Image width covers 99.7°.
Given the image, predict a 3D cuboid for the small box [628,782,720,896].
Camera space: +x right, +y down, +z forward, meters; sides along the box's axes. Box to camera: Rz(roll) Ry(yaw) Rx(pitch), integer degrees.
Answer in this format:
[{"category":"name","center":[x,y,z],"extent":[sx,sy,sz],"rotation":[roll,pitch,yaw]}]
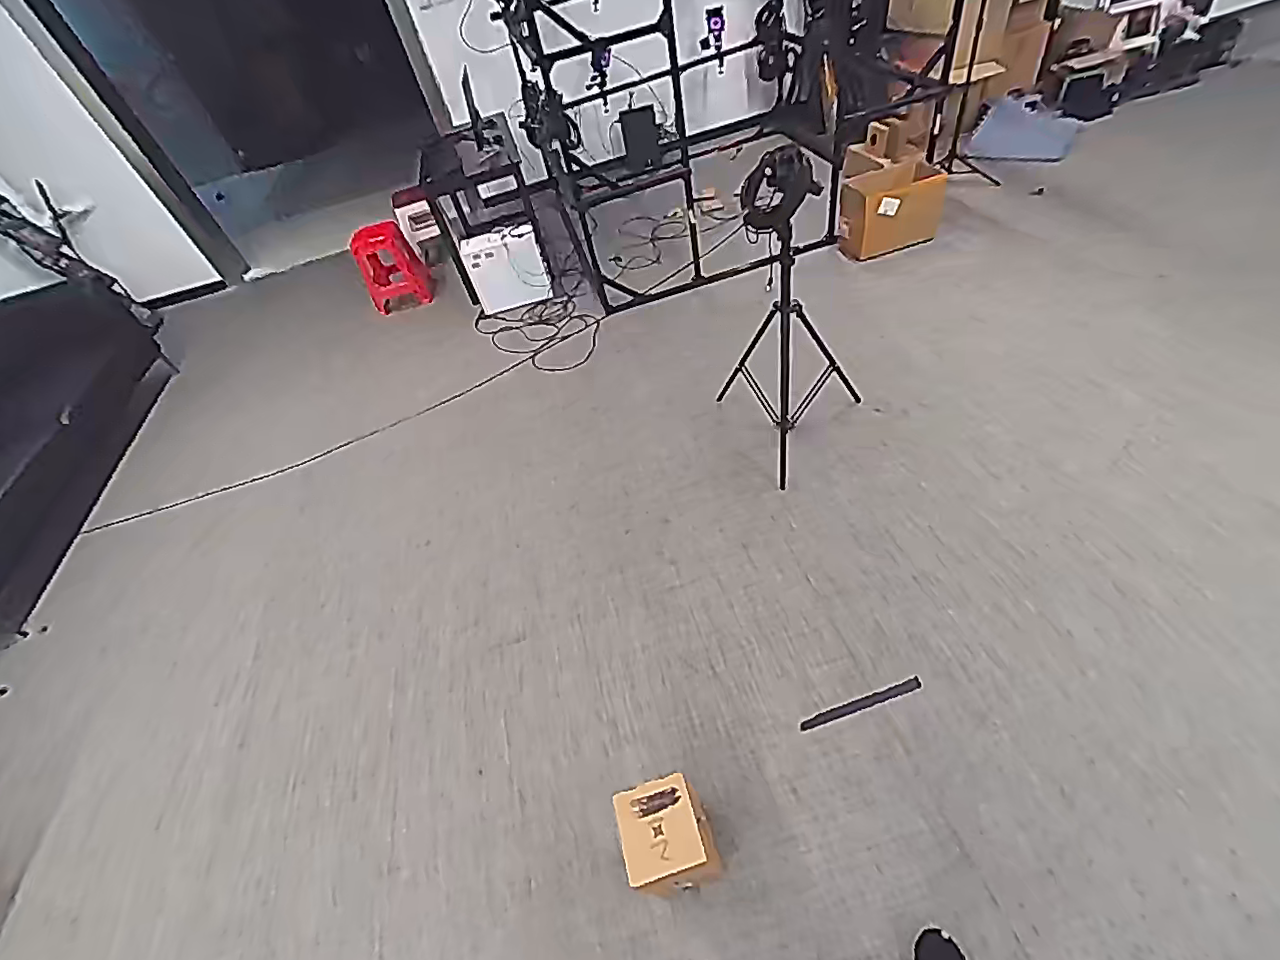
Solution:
[{"category":"small box","center":[0.085,0.878,1.319],"extent":[0.168,0.176,0.179],"rotation":[-21,46,-3]}]
